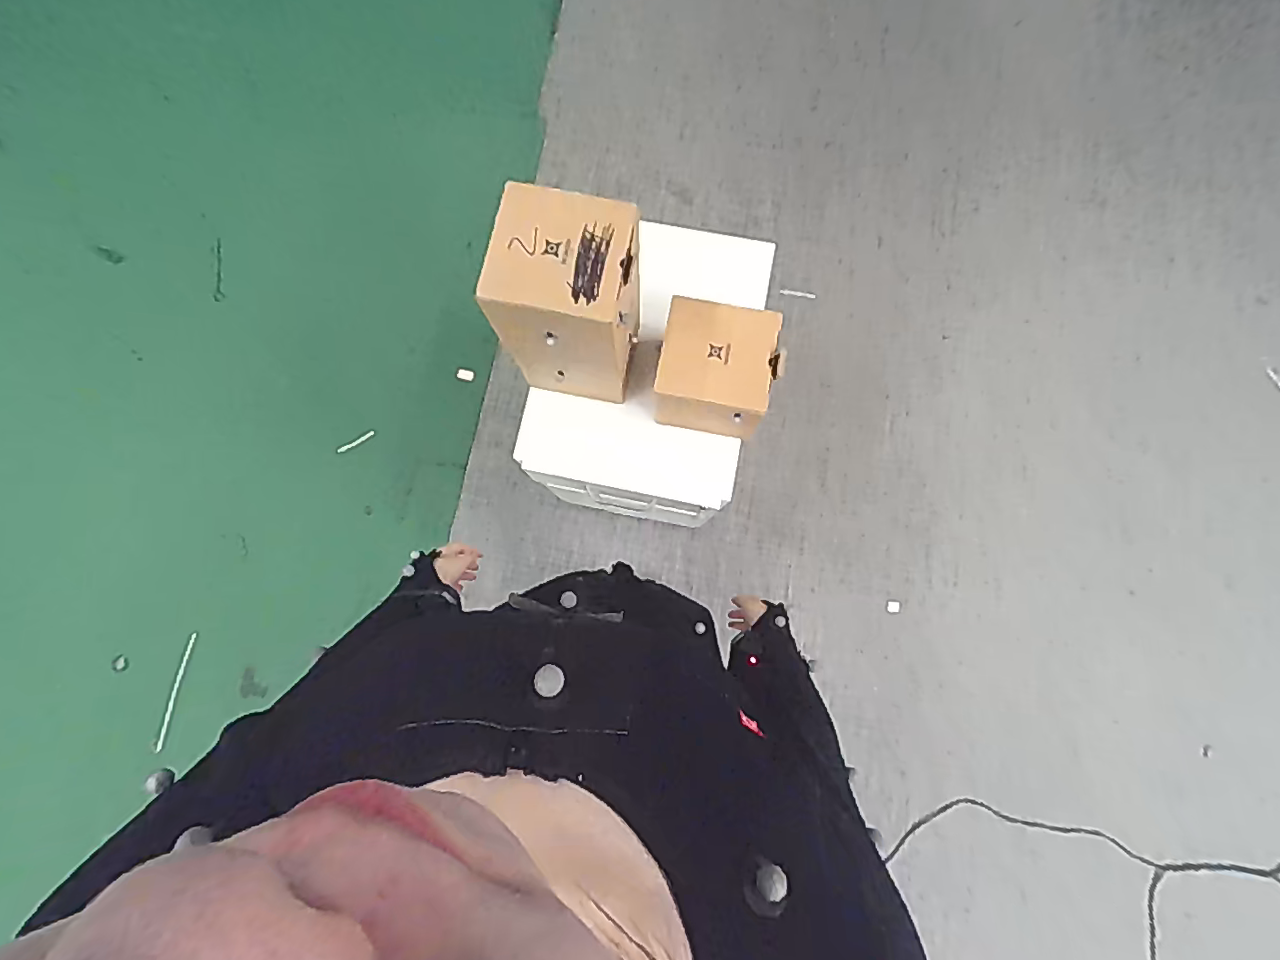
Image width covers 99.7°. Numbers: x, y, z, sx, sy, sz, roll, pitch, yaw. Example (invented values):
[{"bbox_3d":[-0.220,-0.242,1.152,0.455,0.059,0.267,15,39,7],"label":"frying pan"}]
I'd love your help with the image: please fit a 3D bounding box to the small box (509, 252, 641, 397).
[{"bbox_3d":[-0.099,-0.251,0.912,0.179,0.176,0.168,11,81,2],"label":"small box"}]
